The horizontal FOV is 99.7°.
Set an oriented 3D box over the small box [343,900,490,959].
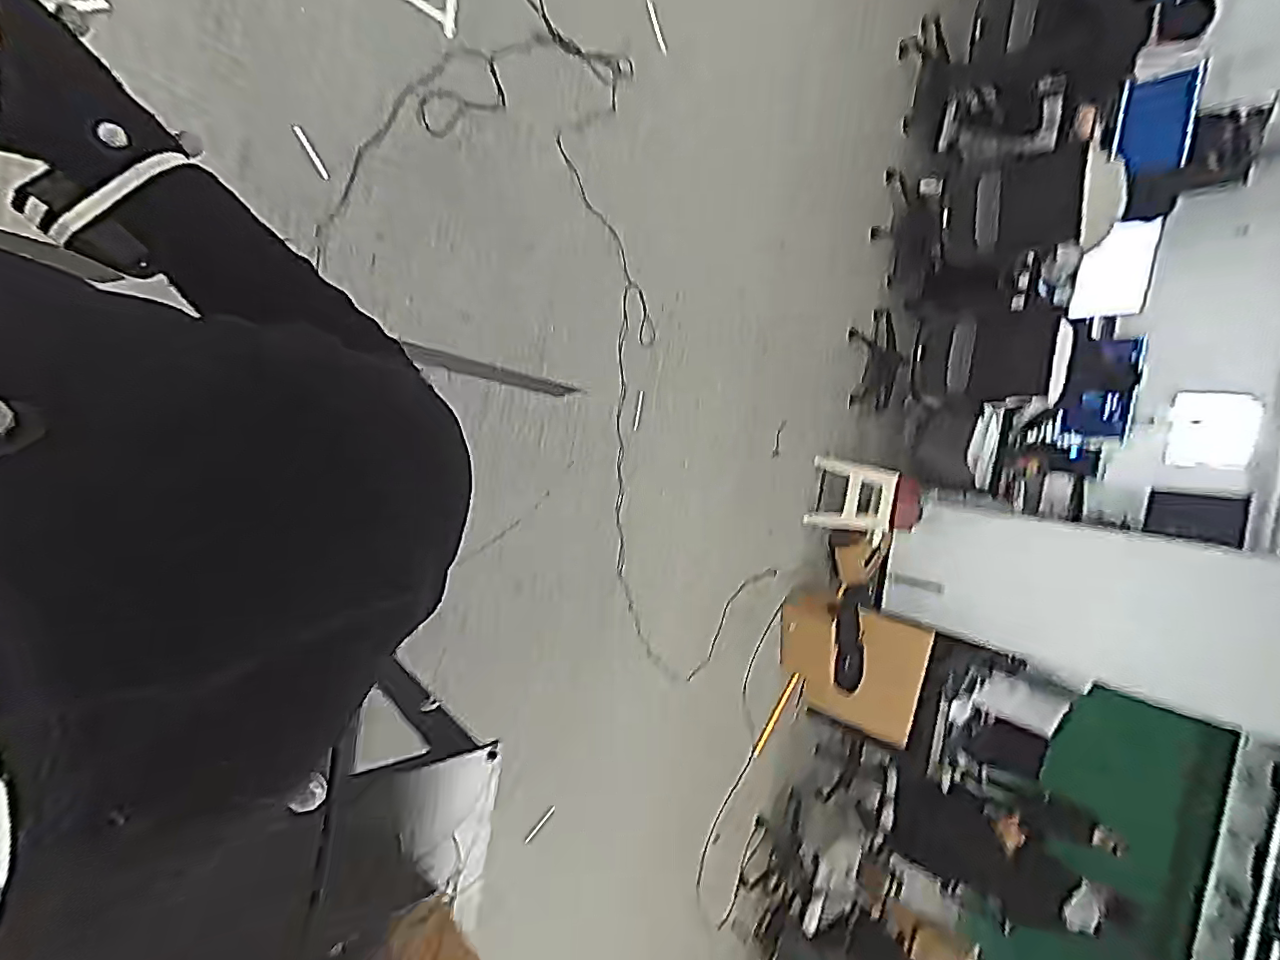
[{"bbox_3d":[-0.344,0.792,0.820,0.168,0.176,0.179,-1,99,-43],"label":"small box"}]
